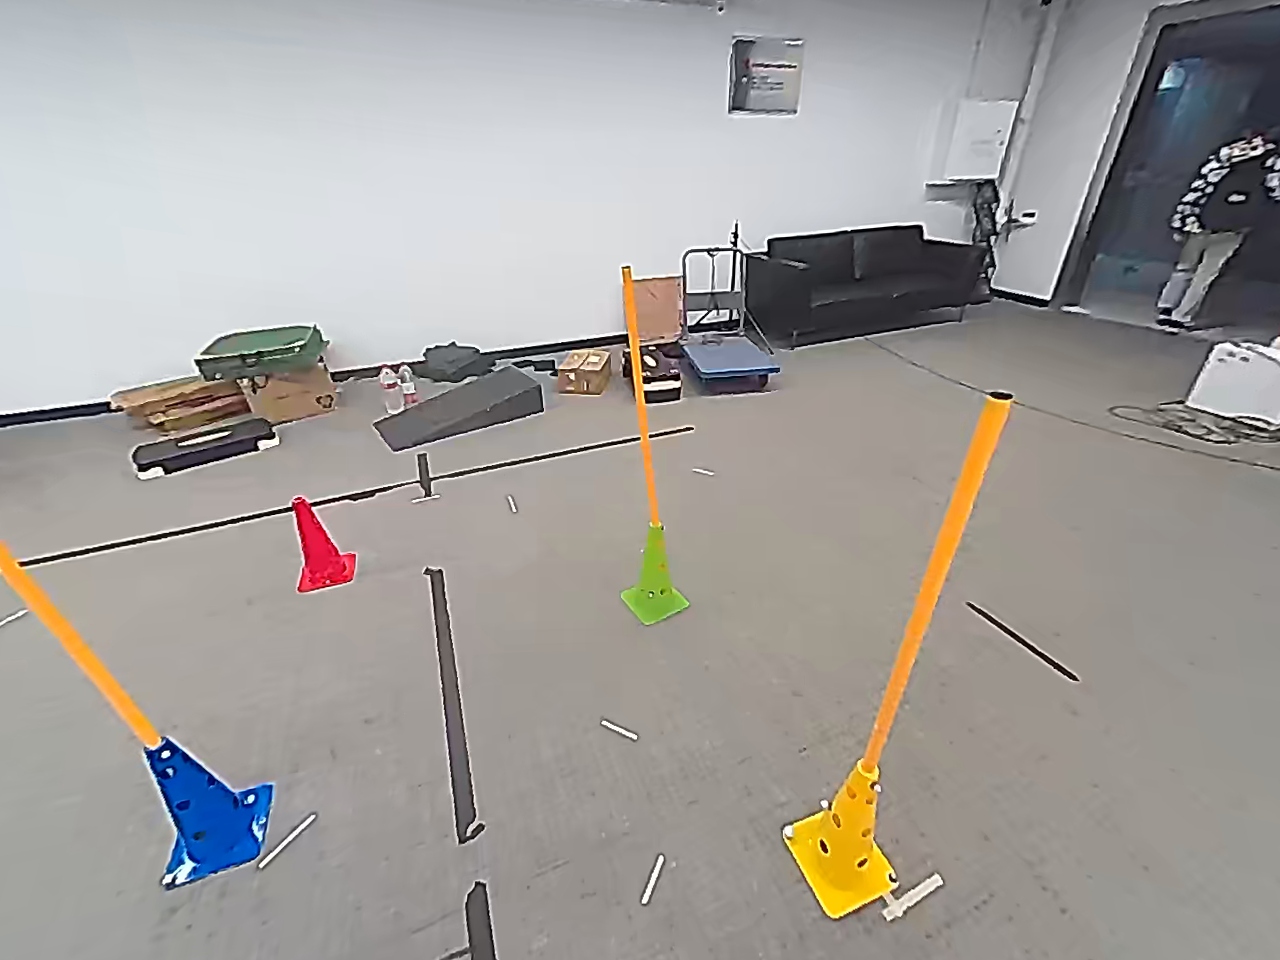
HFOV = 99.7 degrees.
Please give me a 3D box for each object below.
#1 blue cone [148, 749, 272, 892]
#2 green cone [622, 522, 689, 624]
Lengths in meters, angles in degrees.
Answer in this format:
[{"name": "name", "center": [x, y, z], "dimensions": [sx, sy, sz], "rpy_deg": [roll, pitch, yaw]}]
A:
[{"name": "blue cone", "center": [-1.032, 0.746, 1.257], "dimensions": [0.193, 0.380, 0.192], "rpy_deg": [-11, 32, -16]}, {"name": "green cone", "center": [0.056, 0.305, 1.954], "dimensions": [0.200, 0.368, 0.202], "rpy_deg": [-19, 36, -28]}]
